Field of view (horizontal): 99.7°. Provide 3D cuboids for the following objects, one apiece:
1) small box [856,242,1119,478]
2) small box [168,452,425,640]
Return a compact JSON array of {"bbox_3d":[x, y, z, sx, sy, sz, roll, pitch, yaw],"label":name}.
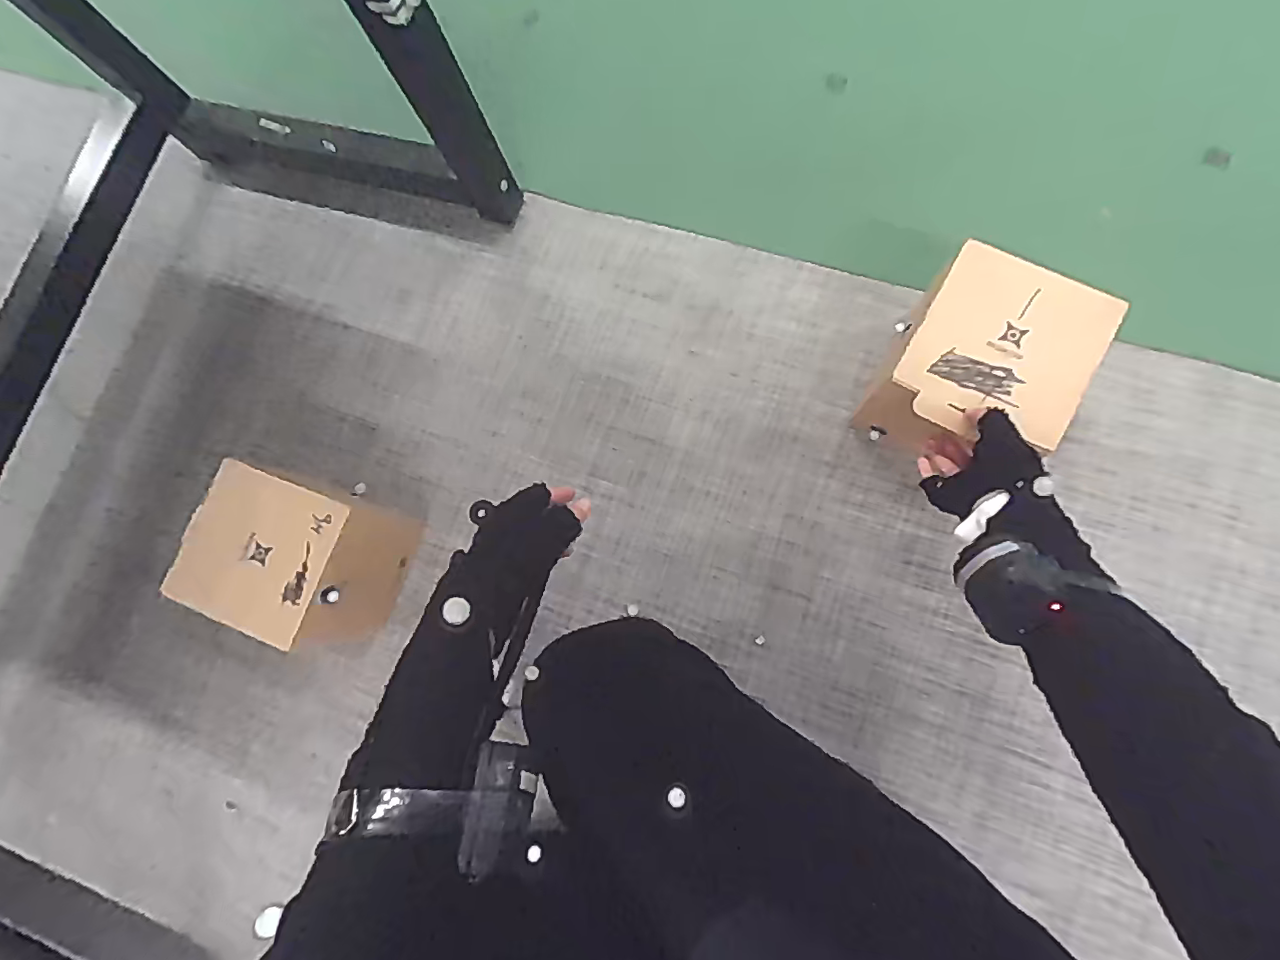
[{"bbox_3d":[0.369,-0.121,0.615,0.168,0.176,0.179,30,84,11],"label":"small box"},{"bbox_3d":[-0.411,0.083,0.677,0.179,0.176,0.168,20,84,11],"label":"small box"}]
